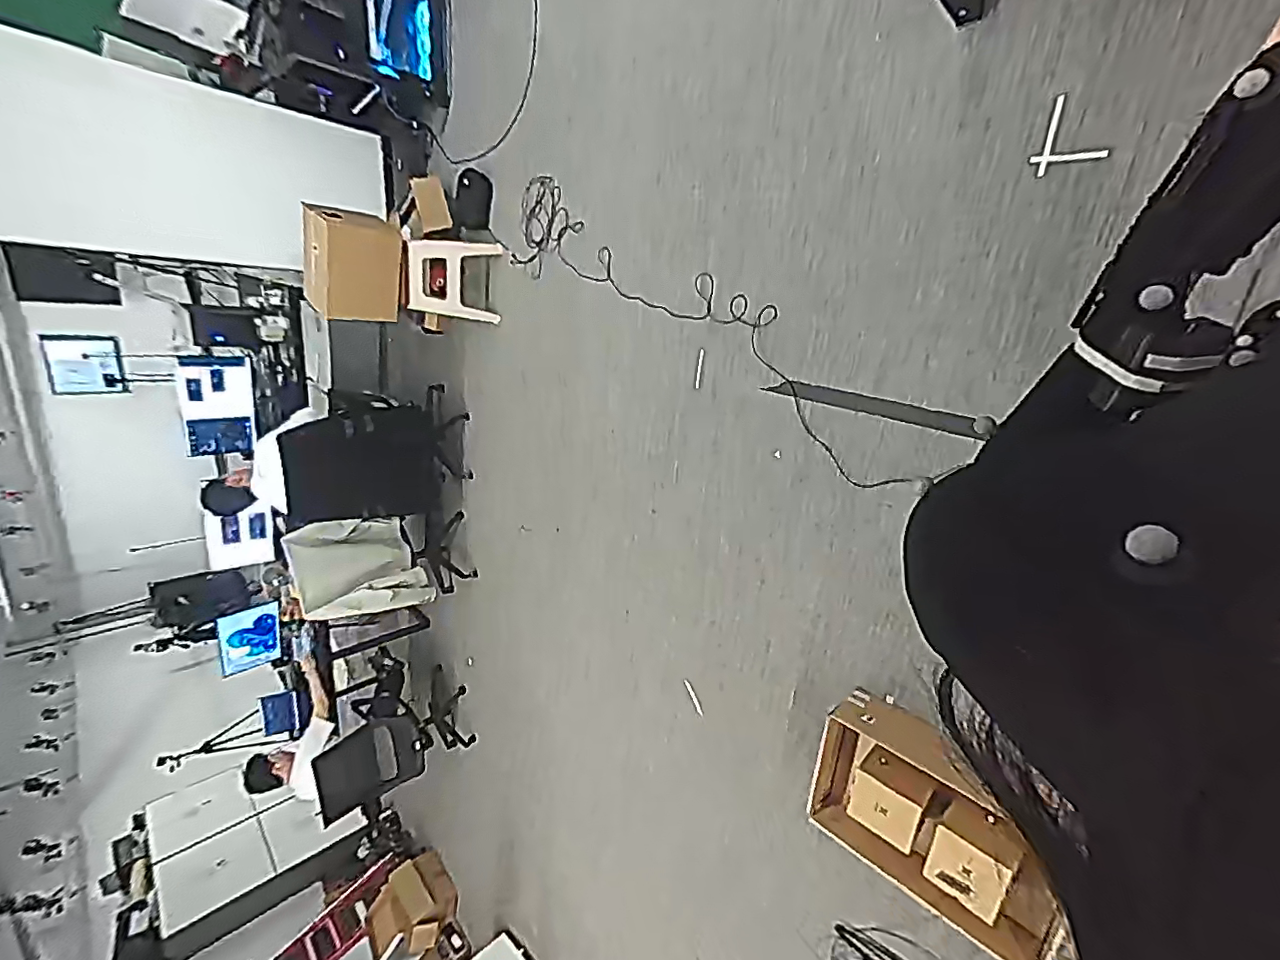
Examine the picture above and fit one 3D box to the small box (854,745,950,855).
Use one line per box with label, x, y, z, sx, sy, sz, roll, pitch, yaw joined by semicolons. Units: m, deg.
small box;0.732;0.879;1.511;0.179;0.176;0.168;20;113;40
